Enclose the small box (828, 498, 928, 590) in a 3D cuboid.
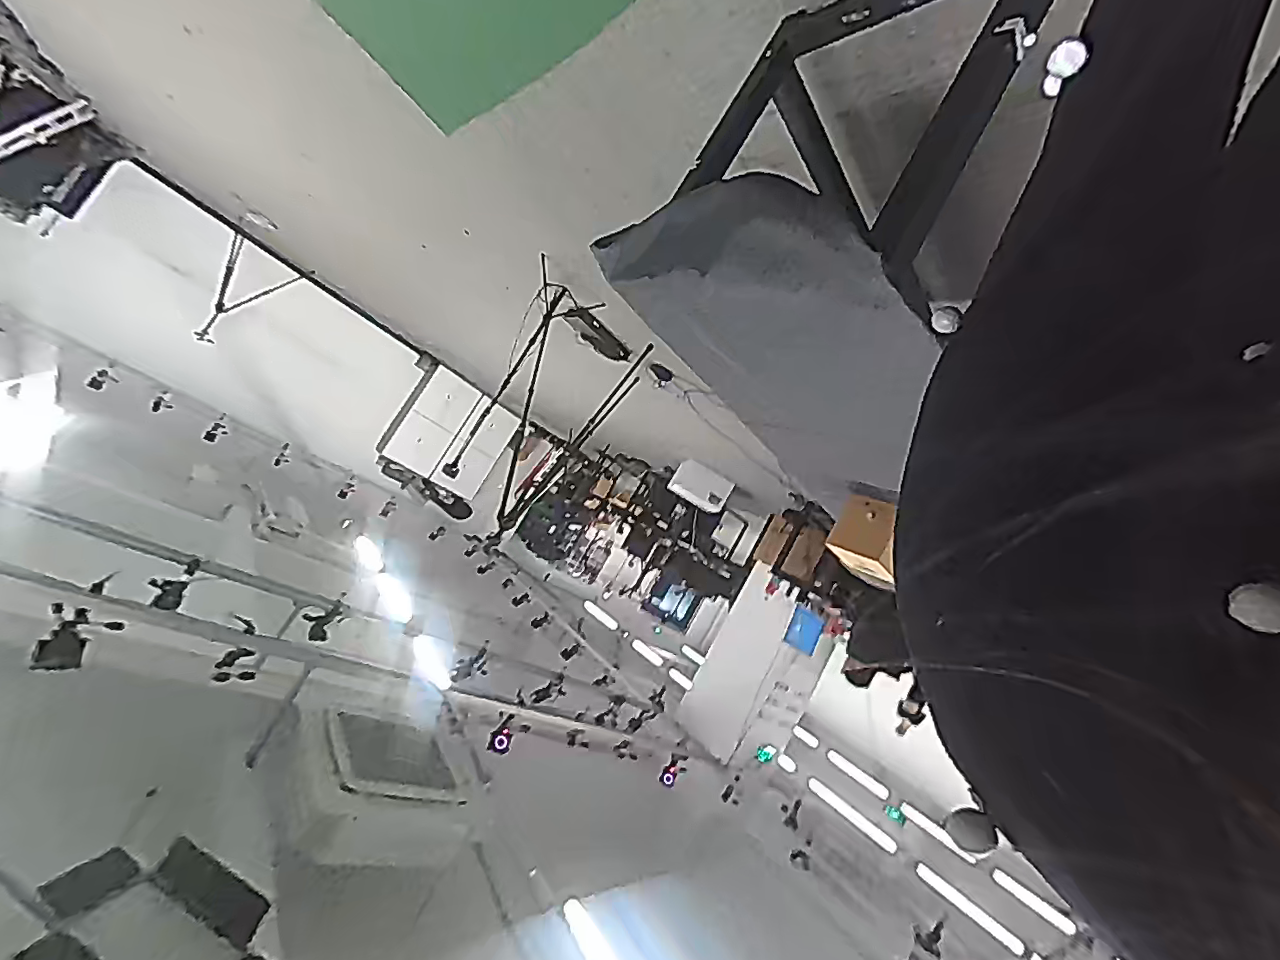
[{"bbox_3d":[0.665,0.174,1.501,0.179,0.176,0.168,37,170,-36],"label":"small box"}]
